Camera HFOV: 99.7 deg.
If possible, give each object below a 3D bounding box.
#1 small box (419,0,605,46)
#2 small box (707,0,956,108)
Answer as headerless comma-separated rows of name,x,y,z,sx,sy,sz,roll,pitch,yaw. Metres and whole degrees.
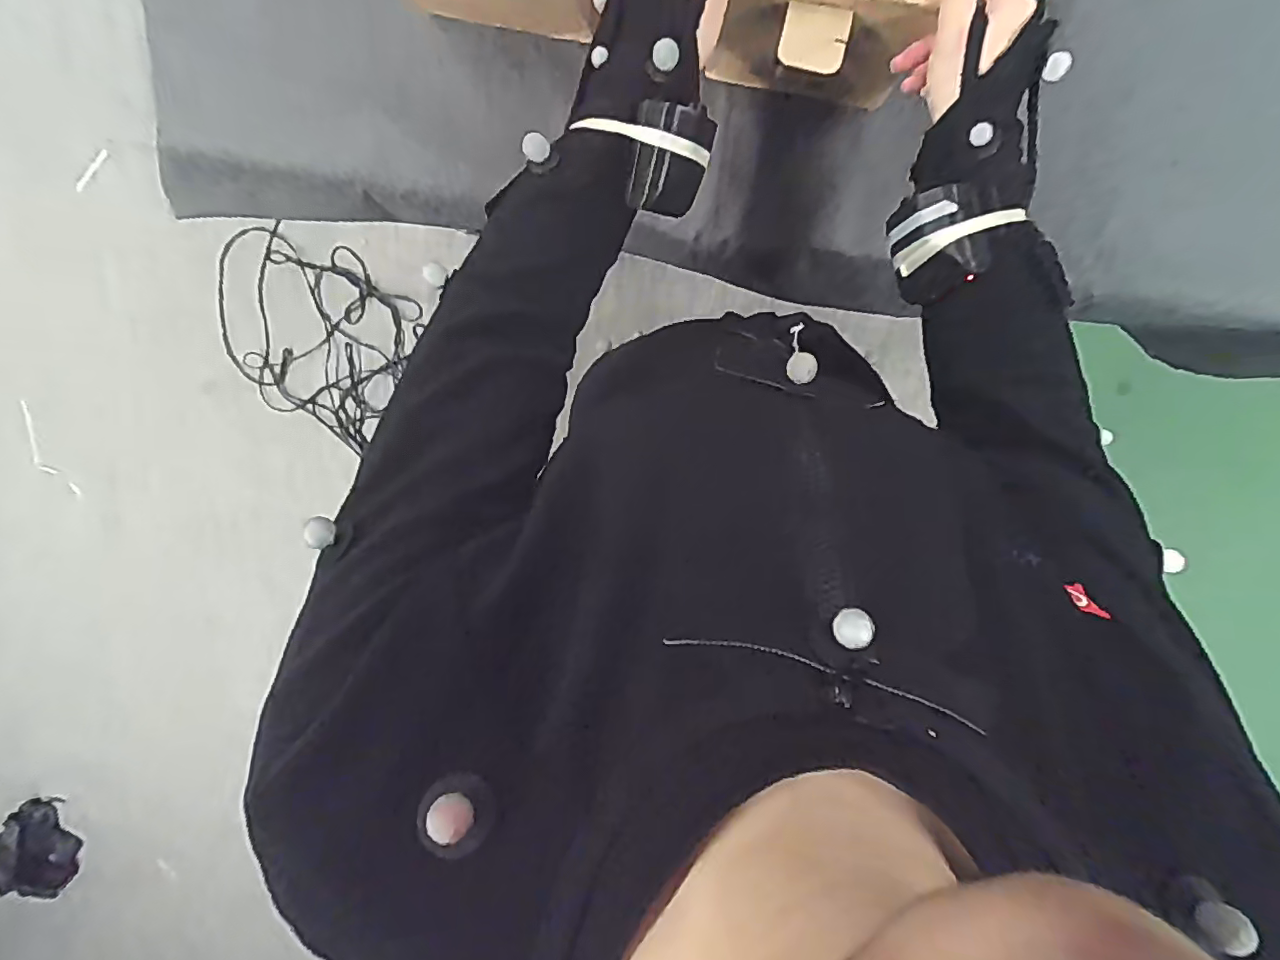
small box,-0.117,-0.478,0.416,0.179,0.176,0.168,13,108,2
small box,0.146,-0.420,0.403,0.168,0.176,0.179,12,108,3
